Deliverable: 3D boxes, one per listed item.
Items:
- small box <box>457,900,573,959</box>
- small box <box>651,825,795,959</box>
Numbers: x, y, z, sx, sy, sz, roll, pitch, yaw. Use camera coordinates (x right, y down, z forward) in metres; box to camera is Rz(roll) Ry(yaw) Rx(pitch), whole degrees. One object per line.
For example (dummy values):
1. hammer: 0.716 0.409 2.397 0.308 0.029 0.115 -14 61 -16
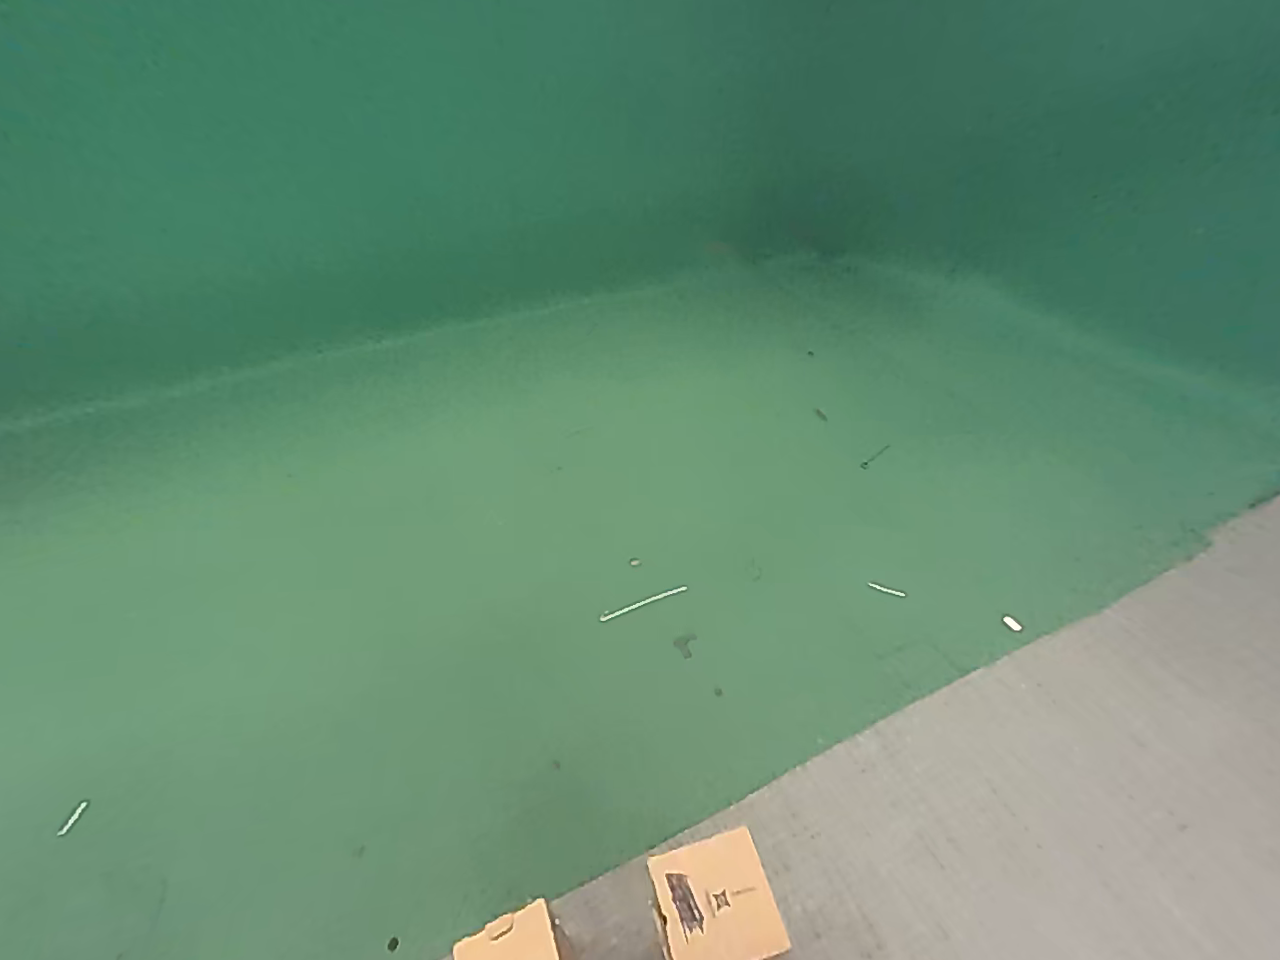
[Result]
1. small box: -0.199 0.881 0.934 0.168 0.176 0.179 -19 42 -16
2. small box: 0.126 0.694 0.867 0.179 0.176 0.168 -12 42 -10
